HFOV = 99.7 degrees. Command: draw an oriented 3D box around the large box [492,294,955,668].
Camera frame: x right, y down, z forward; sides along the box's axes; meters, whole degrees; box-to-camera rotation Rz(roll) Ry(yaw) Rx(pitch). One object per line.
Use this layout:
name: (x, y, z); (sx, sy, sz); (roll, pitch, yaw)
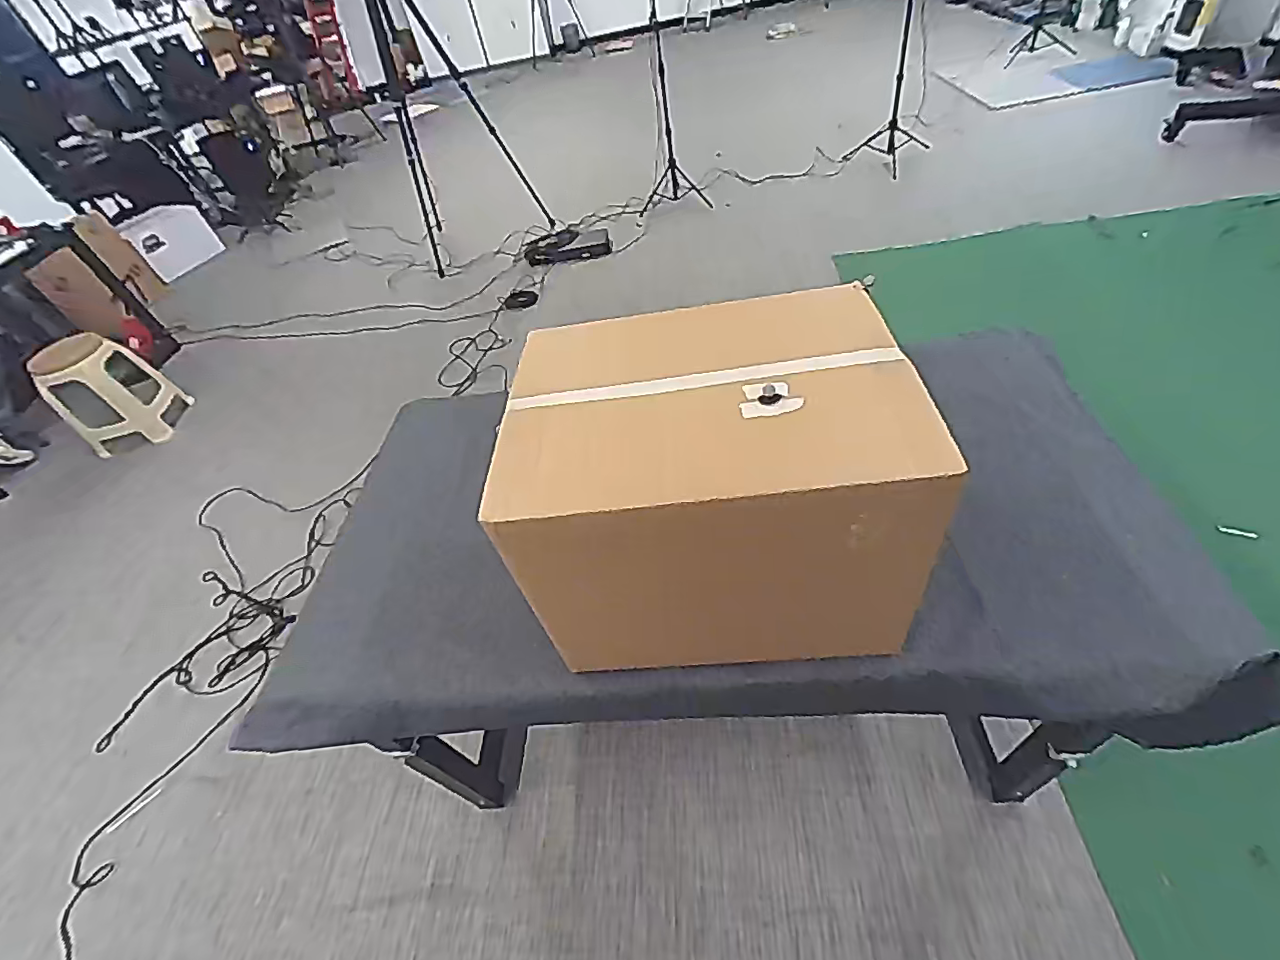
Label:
large box: (0.084, 0.009, 0.666); (0.408, 0.320, 0.320); (-6, 46, 7)
